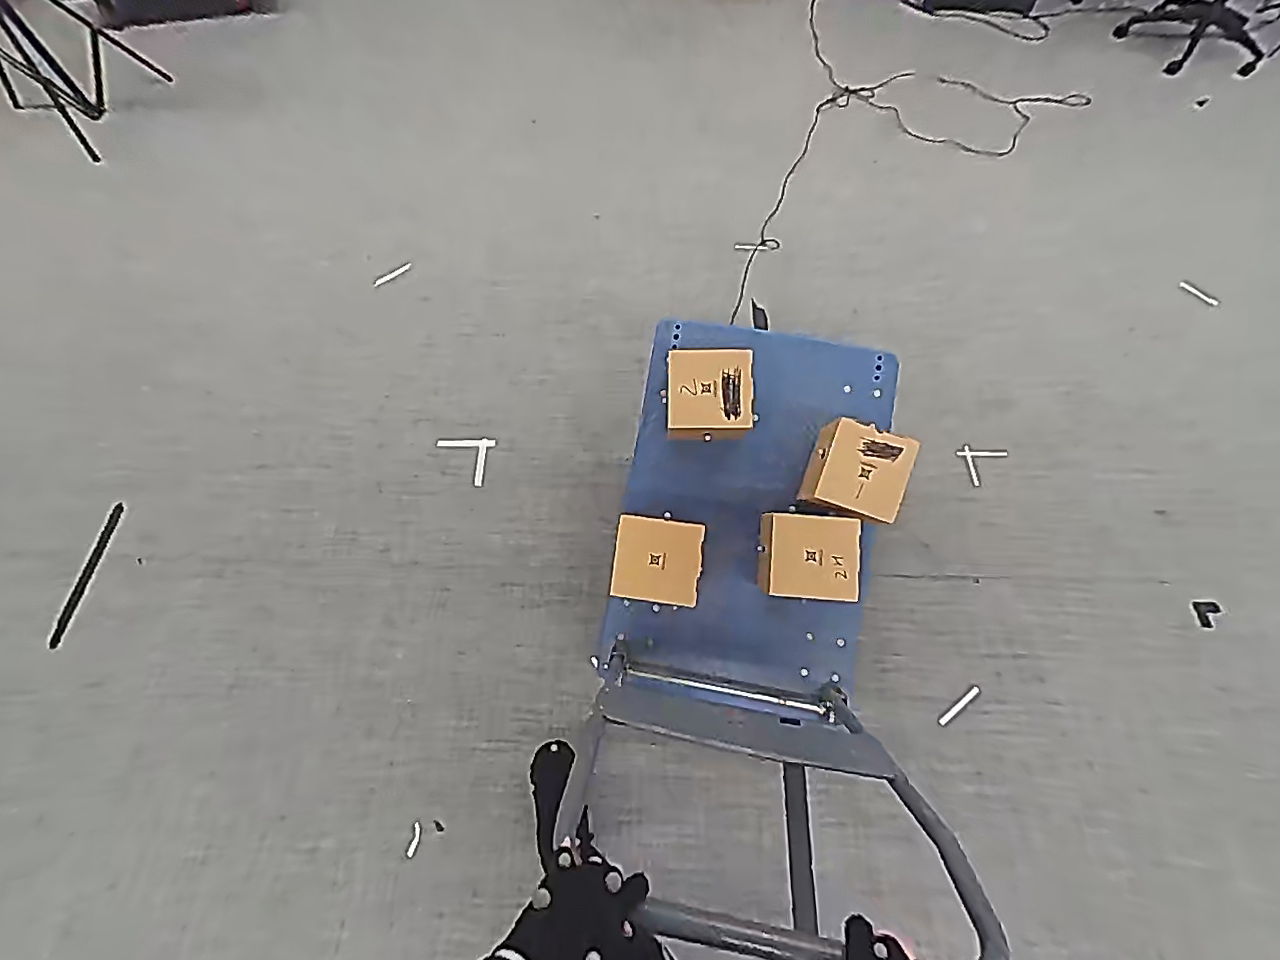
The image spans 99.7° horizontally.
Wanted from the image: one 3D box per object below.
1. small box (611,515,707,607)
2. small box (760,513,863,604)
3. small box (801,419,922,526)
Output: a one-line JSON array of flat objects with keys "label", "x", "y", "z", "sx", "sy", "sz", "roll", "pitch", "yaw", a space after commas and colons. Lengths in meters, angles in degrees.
[{"label": "small box", "x": 0.042, "y": 0.170, "z": 1.168, "sx": 0.179, "sy": 0.176, "sz": 0.168, "roll": 8, "pitch": 86, "yaw": 3}, {"label": "small box", "x": 0.354, "y": 0.162, "z": 1.146, "sx": 0.179, "sy": 0.176, "sz": 0.168, "roll": 4, "pitch": 86, "yaw": 5}, {"label": "small box", "x": 0.461, "y": -0.010, "z": 1.154, "sx": 0.168, "sy": 0.176, "sz": 0.179, "roll": 20, "pitch": 88, "yaw": 6}]
